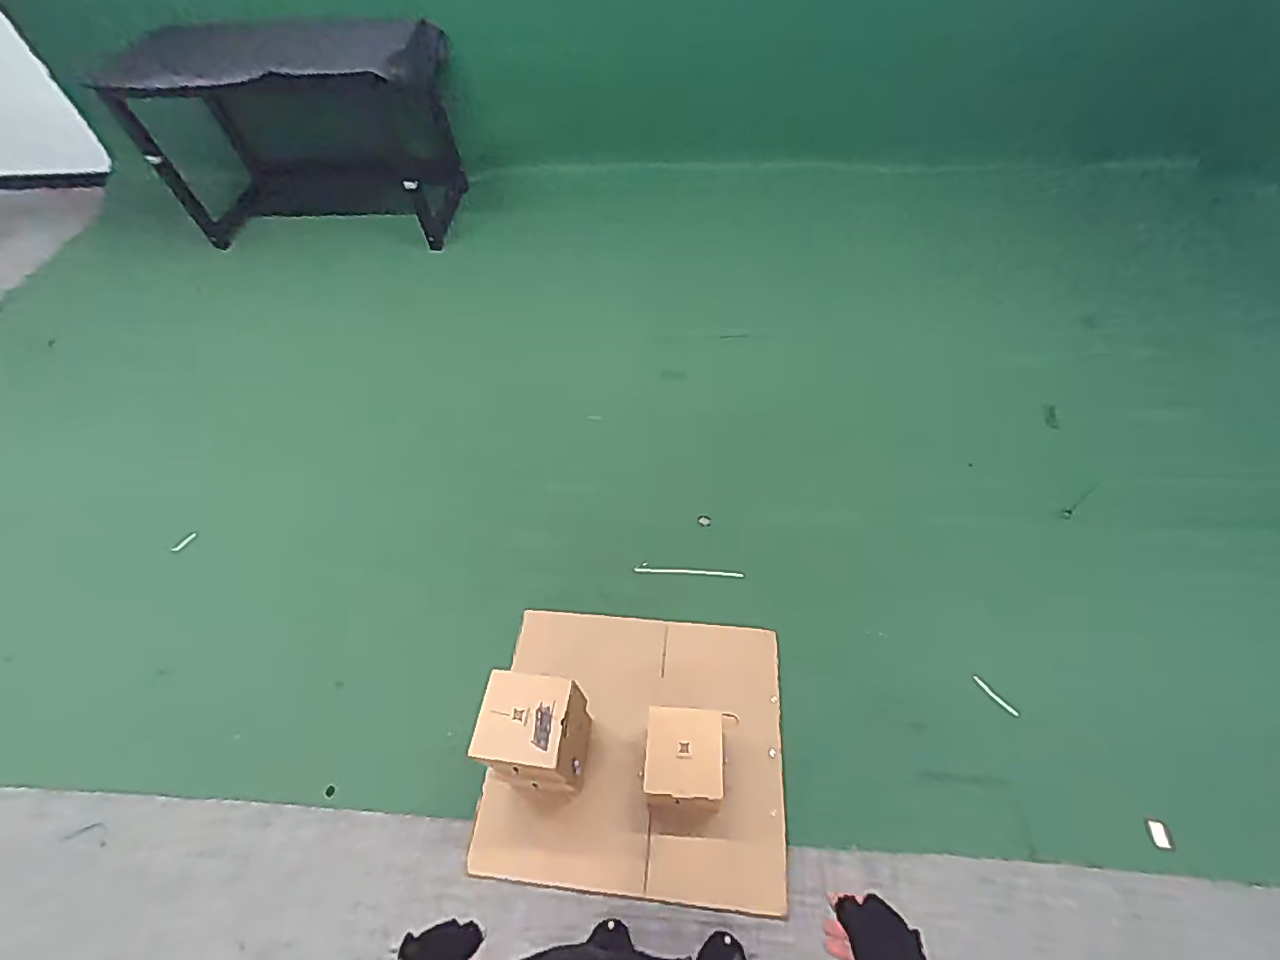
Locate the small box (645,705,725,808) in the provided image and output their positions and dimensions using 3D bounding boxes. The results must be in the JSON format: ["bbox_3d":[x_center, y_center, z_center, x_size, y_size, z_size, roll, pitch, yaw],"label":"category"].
[{"bbox_3d":[0.102,0.622,1.212,0.168,0.176,0.179,1,55,5],"label":"small box"}]

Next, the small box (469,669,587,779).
[{"bbox_3d":[-0.217,0.505,1.112,0.179,0.176,0.168,4,55,10],"label":"small box"}]
